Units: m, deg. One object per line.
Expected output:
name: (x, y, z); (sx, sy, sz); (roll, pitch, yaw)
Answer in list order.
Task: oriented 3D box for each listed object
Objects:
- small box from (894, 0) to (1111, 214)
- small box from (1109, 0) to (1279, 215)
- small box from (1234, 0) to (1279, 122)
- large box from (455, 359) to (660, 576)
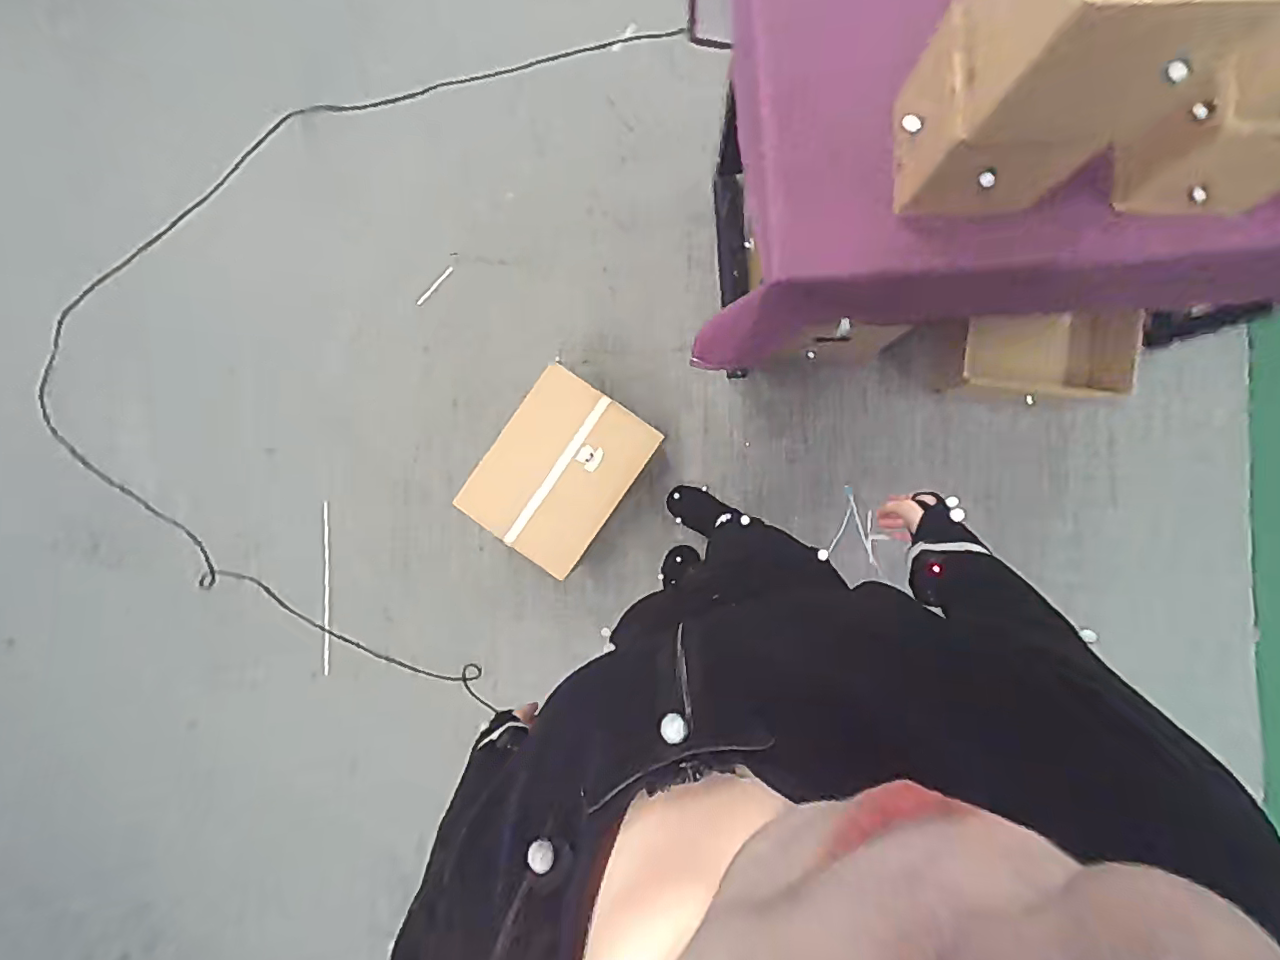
small box: (0.439, -0.457, 0.684); (0.179, 0.176, 0.168); (0, 89, 3)
small box: (0.737, -0.463, 0.673); (0.168, 0.176, 0.179); (5, 89, 3)
small box: (0.731, -0.474, 0.509); (0.168, 0.176, 0.179); (6, 89, 3)
large box: (-0.182, -0.022, 1.362); (0.320, 0.320, 0.408); (35, 89, 2)
